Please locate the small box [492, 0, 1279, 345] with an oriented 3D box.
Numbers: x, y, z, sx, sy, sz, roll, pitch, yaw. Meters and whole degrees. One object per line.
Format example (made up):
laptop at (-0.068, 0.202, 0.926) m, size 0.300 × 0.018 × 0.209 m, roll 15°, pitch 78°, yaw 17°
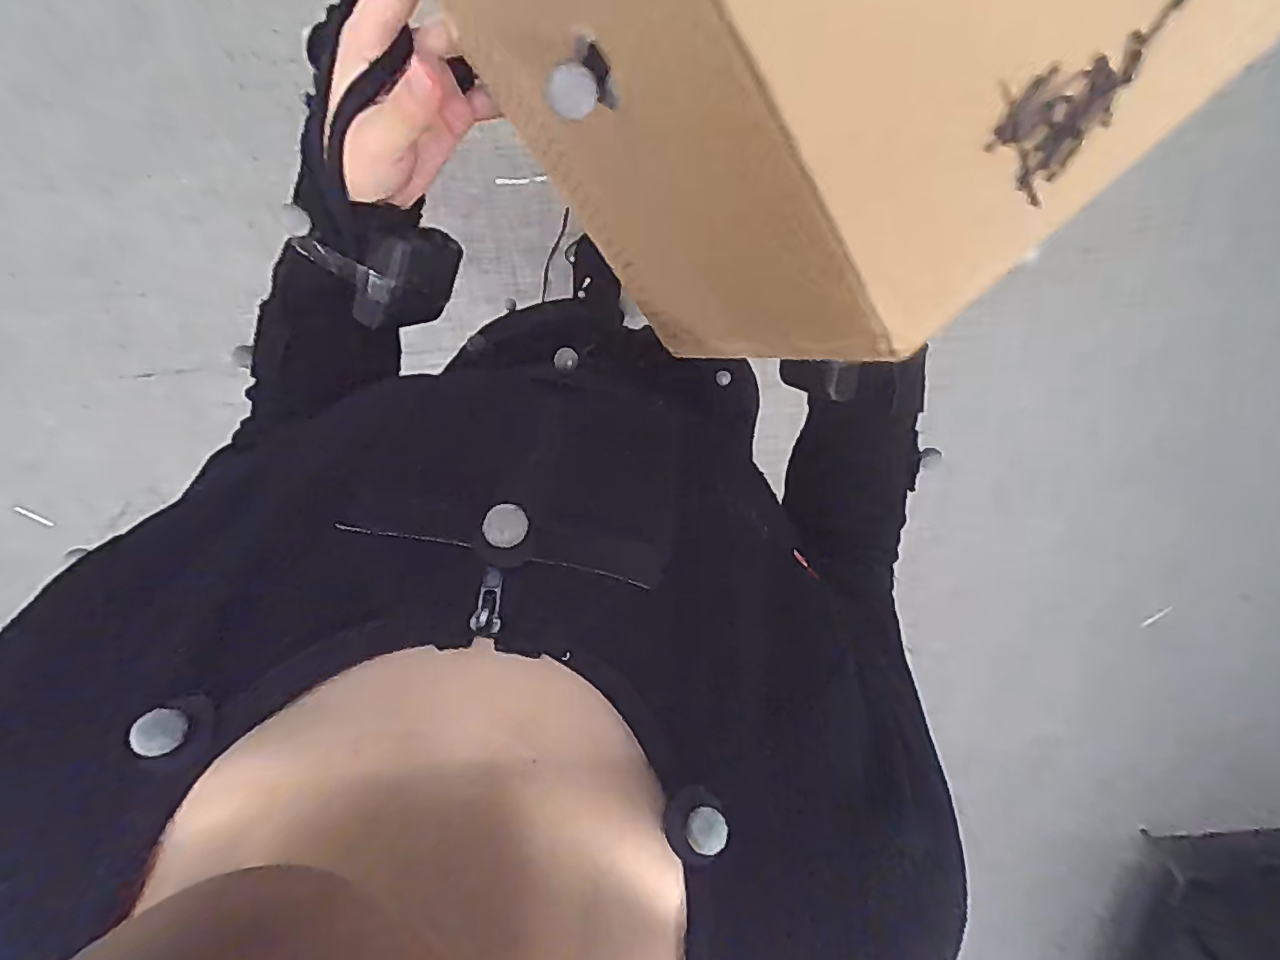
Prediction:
small box at (0.061, -0.163, 0.194) m, size 0.168 × 0.176 × 0.179 m, roll -40°, pitch 109°, yaw -3°
